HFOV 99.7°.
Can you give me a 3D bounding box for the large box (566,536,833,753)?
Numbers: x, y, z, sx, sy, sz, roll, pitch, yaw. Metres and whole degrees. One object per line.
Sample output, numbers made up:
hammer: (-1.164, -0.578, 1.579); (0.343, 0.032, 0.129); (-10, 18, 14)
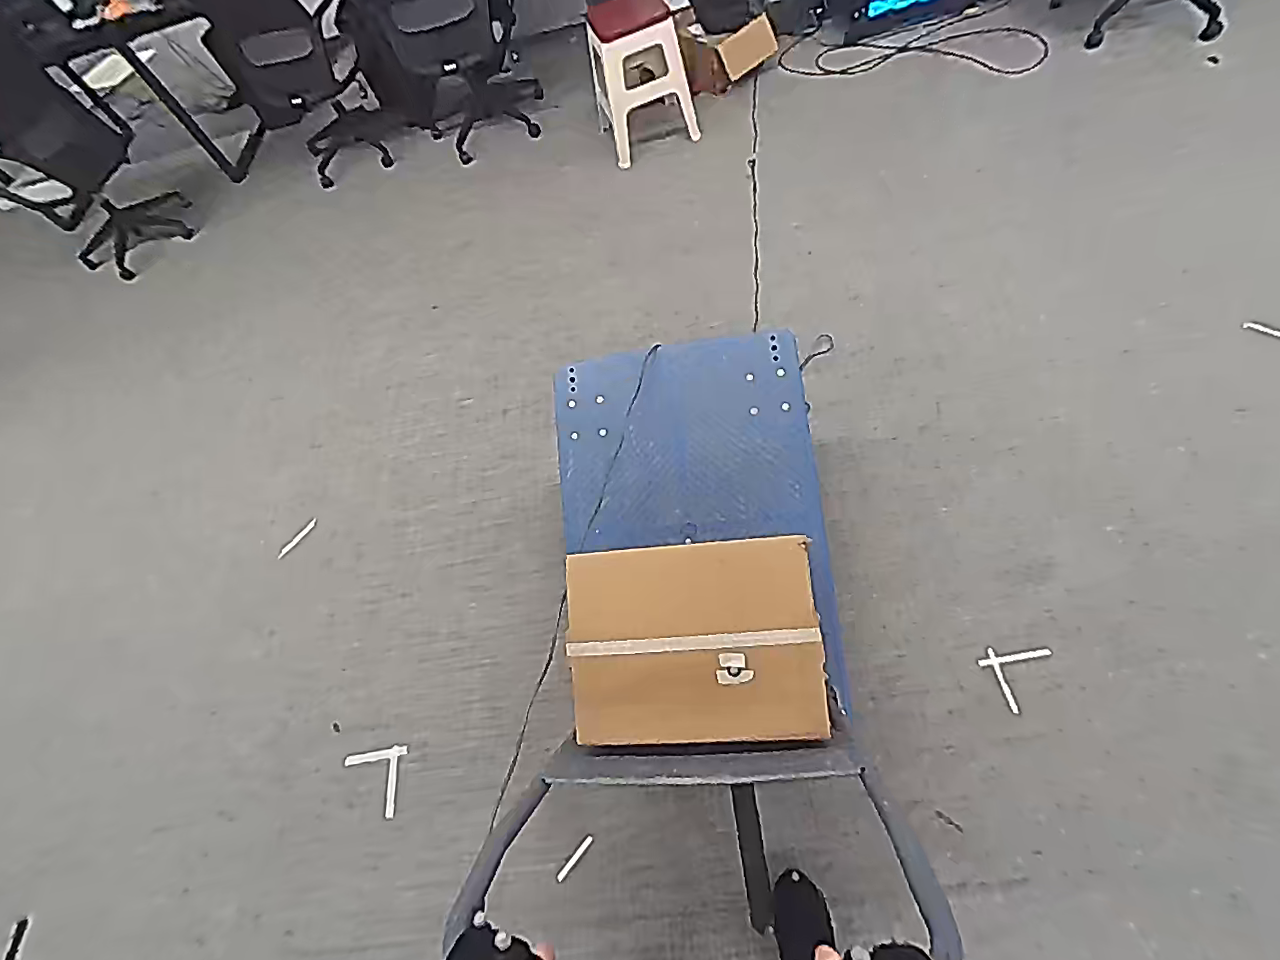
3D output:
large box: (0.105, 0.286, 1.006); (0.408, 0.320, 0.320); (-6, 81, 8)
